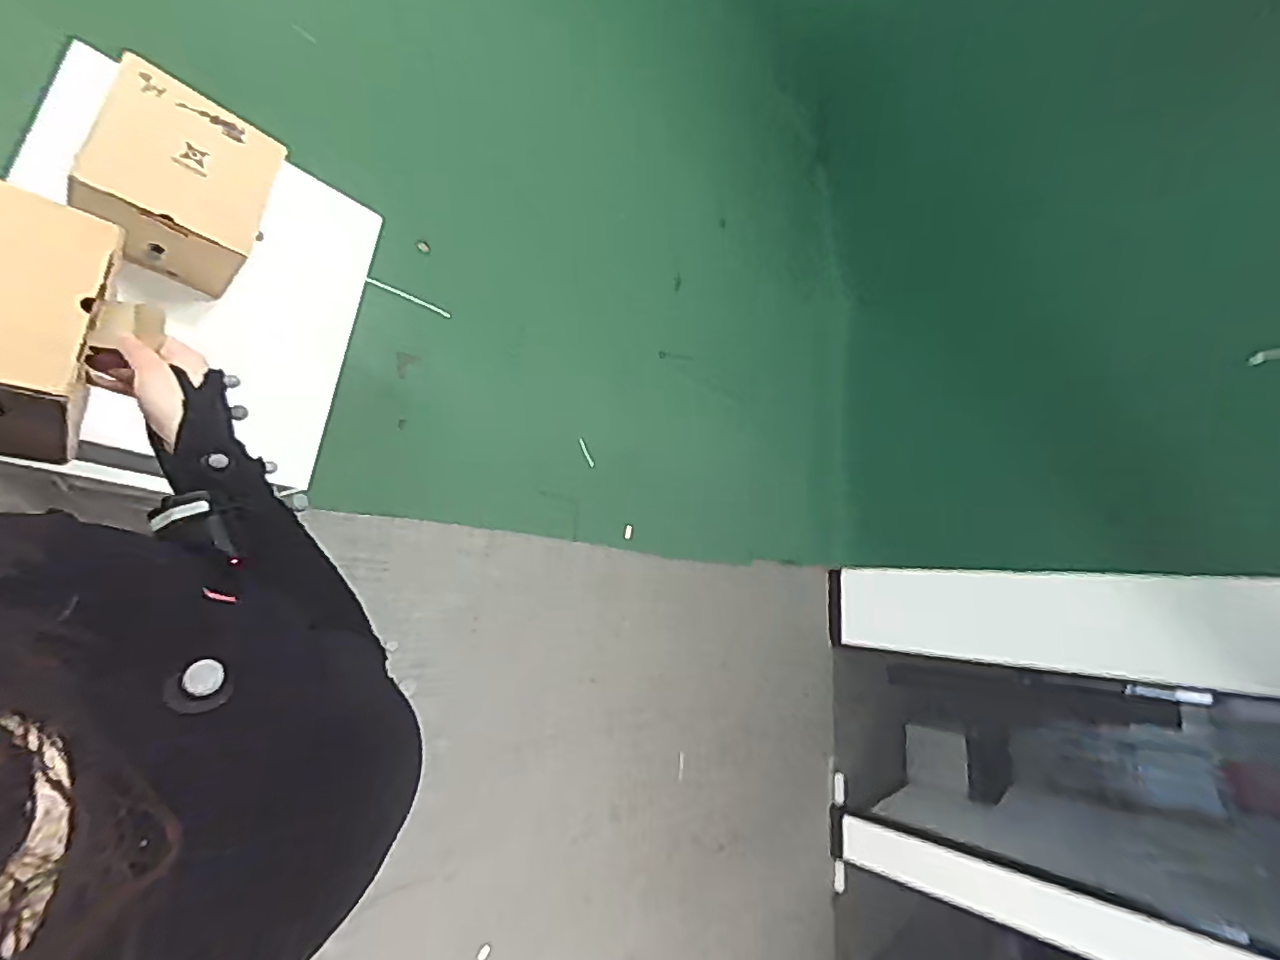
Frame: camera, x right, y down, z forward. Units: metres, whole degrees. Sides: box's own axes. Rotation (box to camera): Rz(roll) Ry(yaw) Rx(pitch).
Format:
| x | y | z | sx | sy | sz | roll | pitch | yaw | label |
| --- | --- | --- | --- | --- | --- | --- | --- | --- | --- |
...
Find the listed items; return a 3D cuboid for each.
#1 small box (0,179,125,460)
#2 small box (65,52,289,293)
| x | y | z | sx | sy | sz | roll | pitch | yaw | label |
| --- | --- | --- | --- | --- | --- | --- | --- | --- | --- |
| -0.540 | -0.127 | 0.415 | 0.179 | 0.176 | 0.168 | 15 | 63 | -44 | small box |
| -0.586 | -0.370 | 0.692 | 0.168 | 0.176 | 0.179 | 22 | 70 | -44 | small box |
